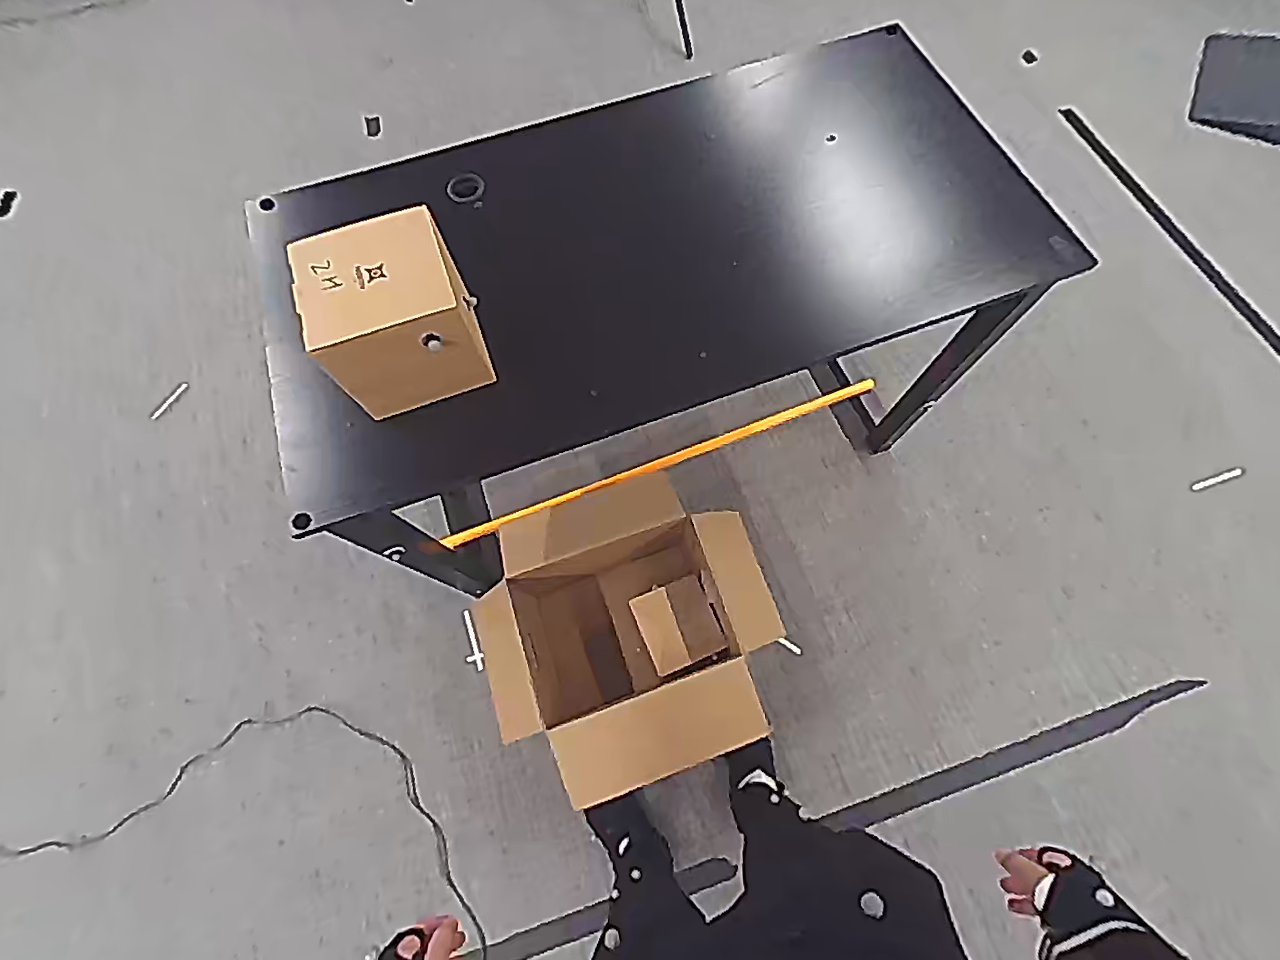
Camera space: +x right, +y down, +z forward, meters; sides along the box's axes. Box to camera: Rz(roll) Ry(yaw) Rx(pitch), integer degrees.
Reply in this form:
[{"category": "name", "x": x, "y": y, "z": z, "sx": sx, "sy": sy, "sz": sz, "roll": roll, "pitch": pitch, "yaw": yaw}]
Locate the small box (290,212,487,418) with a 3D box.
[{"category": "small box", "x": -0.315, "y": -0.208, "z": 0.712, "sx": 0.179, "sy": 0.176, "sz": 0.168, "roll": -20, "pitch": 70, "yaw": -6}]
